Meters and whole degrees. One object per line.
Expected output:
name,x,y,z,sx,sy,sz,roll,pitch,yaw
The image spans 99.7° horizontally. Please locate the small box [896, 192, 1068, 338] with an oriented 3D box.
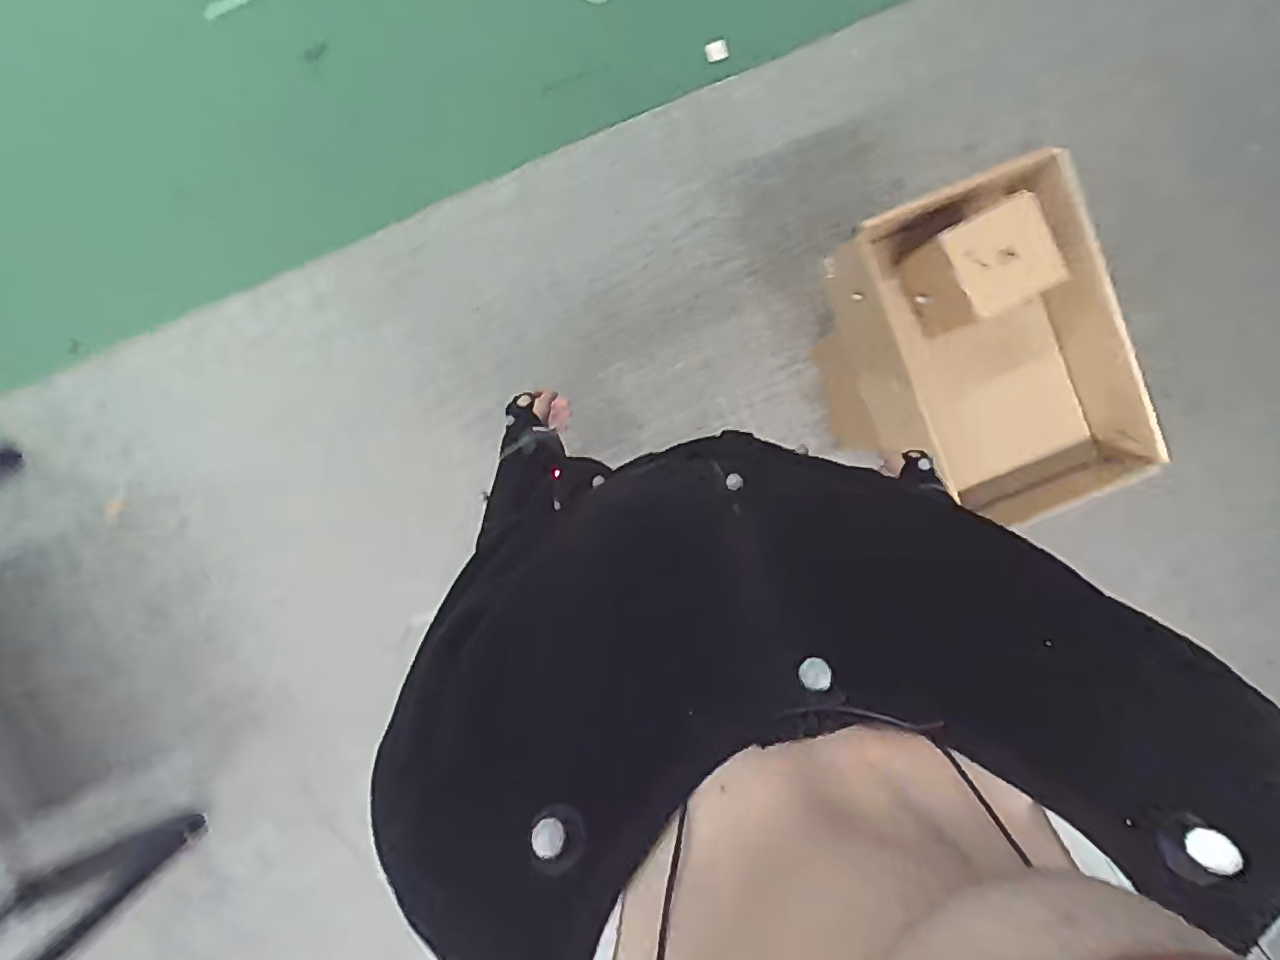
small box,0.616,-0.384,0.995,0.179,0.176,0.168,-26,93,0
